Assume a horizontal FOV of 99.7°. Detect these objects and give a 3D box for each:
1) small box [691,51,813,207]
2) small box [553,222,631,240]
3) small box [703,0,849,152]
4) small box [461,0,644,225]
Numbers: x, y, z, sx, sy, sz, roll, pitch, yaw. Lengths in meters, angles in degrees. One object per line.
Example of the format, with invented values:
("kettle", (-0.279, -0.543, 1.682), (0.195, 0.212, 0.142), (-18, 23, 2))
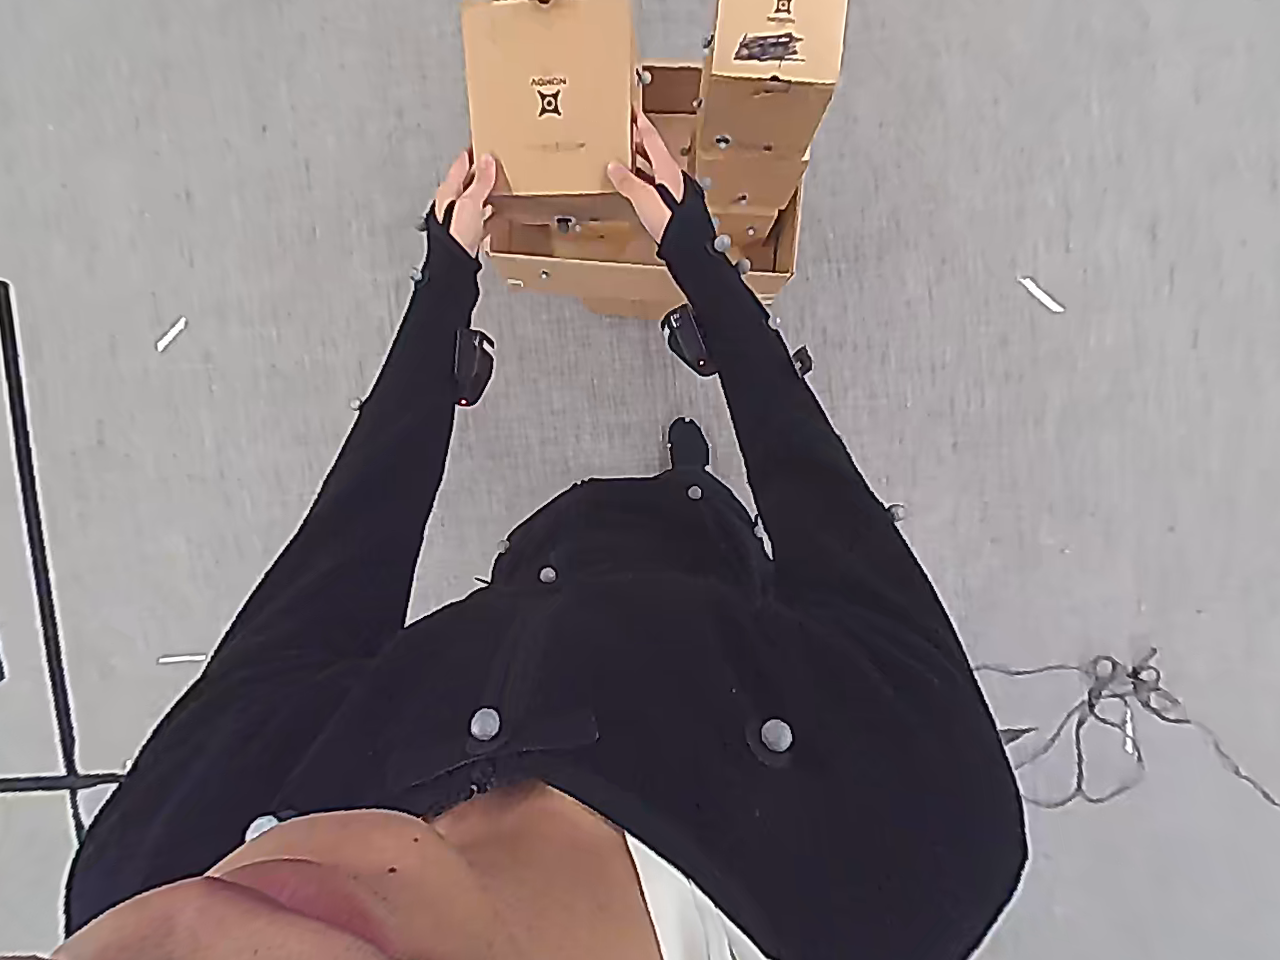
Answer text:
("small box", (0.186, -0.588, 0.925), (0.179, 0.176, 0.168), (2, 93, 1))
("small box", (-0.099, -0.608, 1.099), (0.168, 0.176, 0.179), (3, 92, 0))
("small box", (0.182, -0.595, 0.760), (0.168, 0.176, 0.179), (6, 92, 1))
("small box", (-0.084, -0.397, 0.604), (0.168, 0.176, 0.179), (1, 105, 4))
